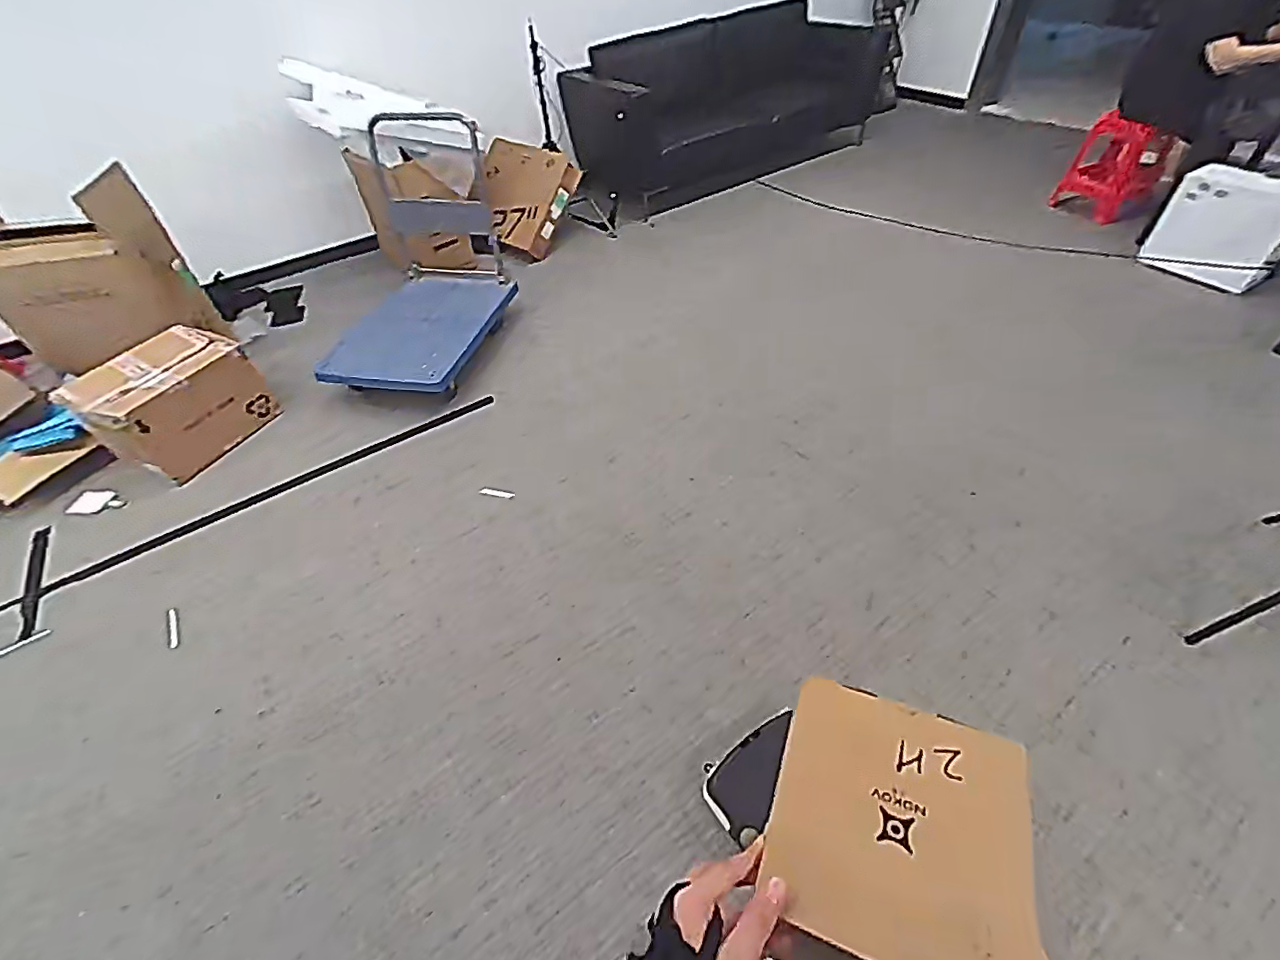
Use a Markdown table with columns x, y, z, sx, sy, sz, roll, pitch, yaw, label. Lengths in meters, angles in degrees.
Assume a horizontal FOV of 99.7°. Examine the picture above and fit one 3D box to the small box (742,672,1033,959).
| x | y | z | sx | sy | sz | roll | pitch | yaw | label |
| --- | --- | --- | --- | --- | --- | --- | --- | --- | --- |
| 0.183 | 0.294 | 0.429 | 0.168 | 0.176 | 0.179 | 13 | 45 | 21 | small box |
